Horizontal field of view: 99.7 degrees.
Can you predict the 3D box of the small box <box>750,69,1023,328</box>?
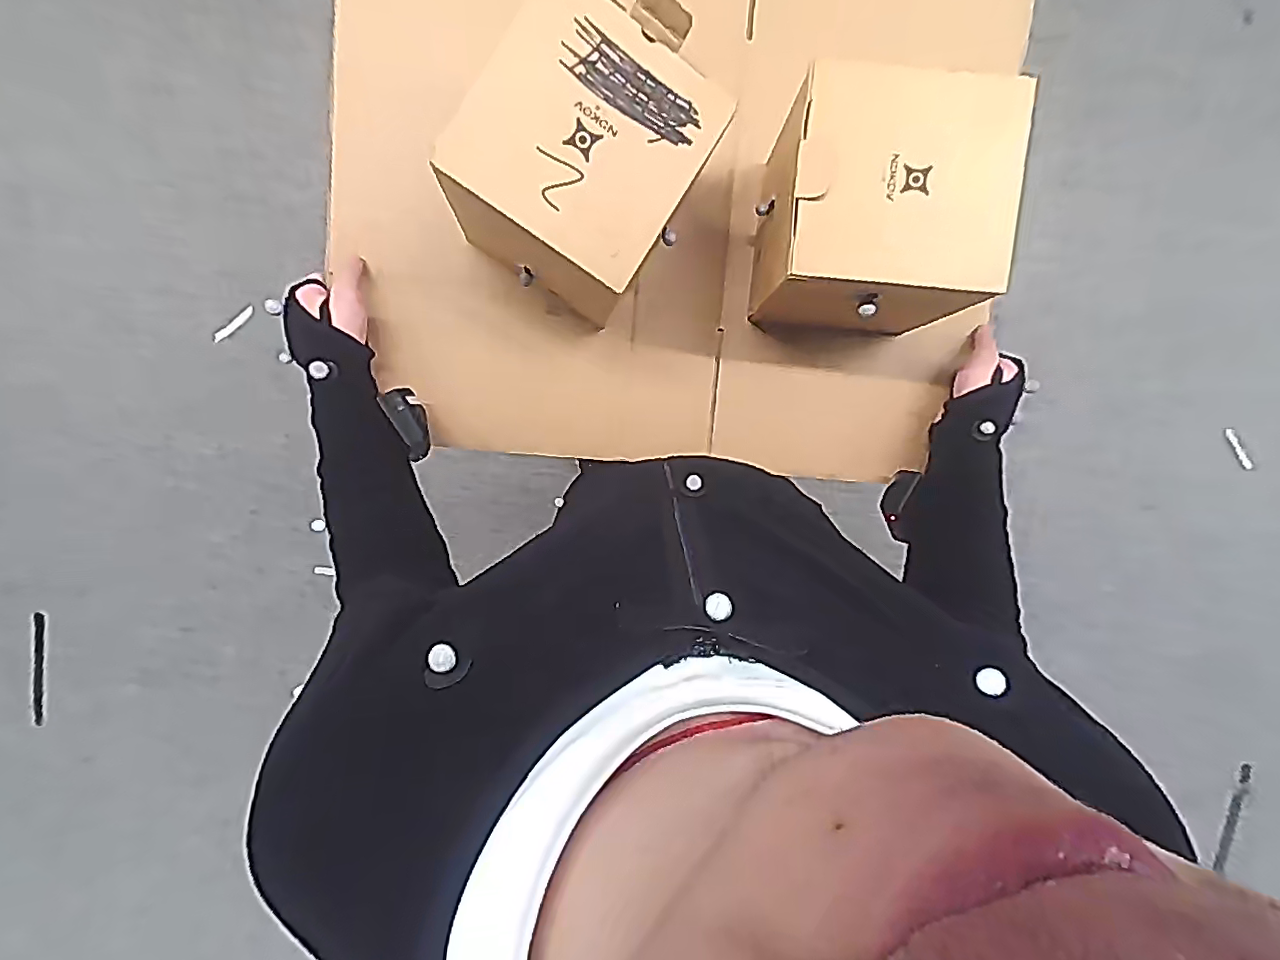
[{"bbox_3d":[0.216,-0.248,0.521,0.179,0.176,0.168,5,95,0],"label":"small box"}]
